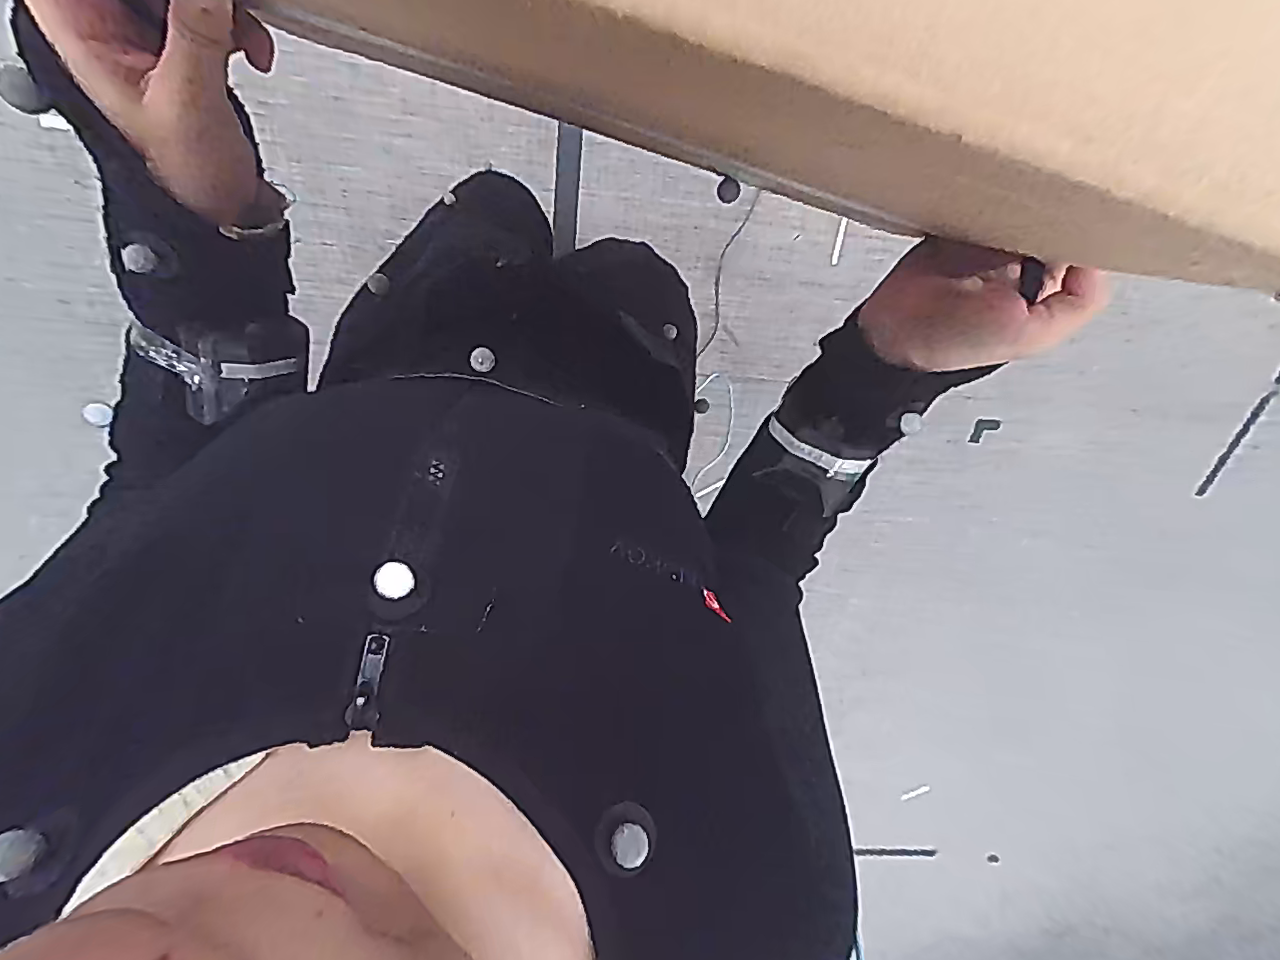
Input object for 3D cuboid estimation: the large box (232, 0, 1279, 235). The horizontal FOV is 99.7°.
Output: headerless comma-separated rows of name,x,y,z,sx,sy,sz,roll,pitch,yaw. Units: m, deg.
large box,0.018,-0.299,0.159,0.408,0.320,0.320,12,119,-8
